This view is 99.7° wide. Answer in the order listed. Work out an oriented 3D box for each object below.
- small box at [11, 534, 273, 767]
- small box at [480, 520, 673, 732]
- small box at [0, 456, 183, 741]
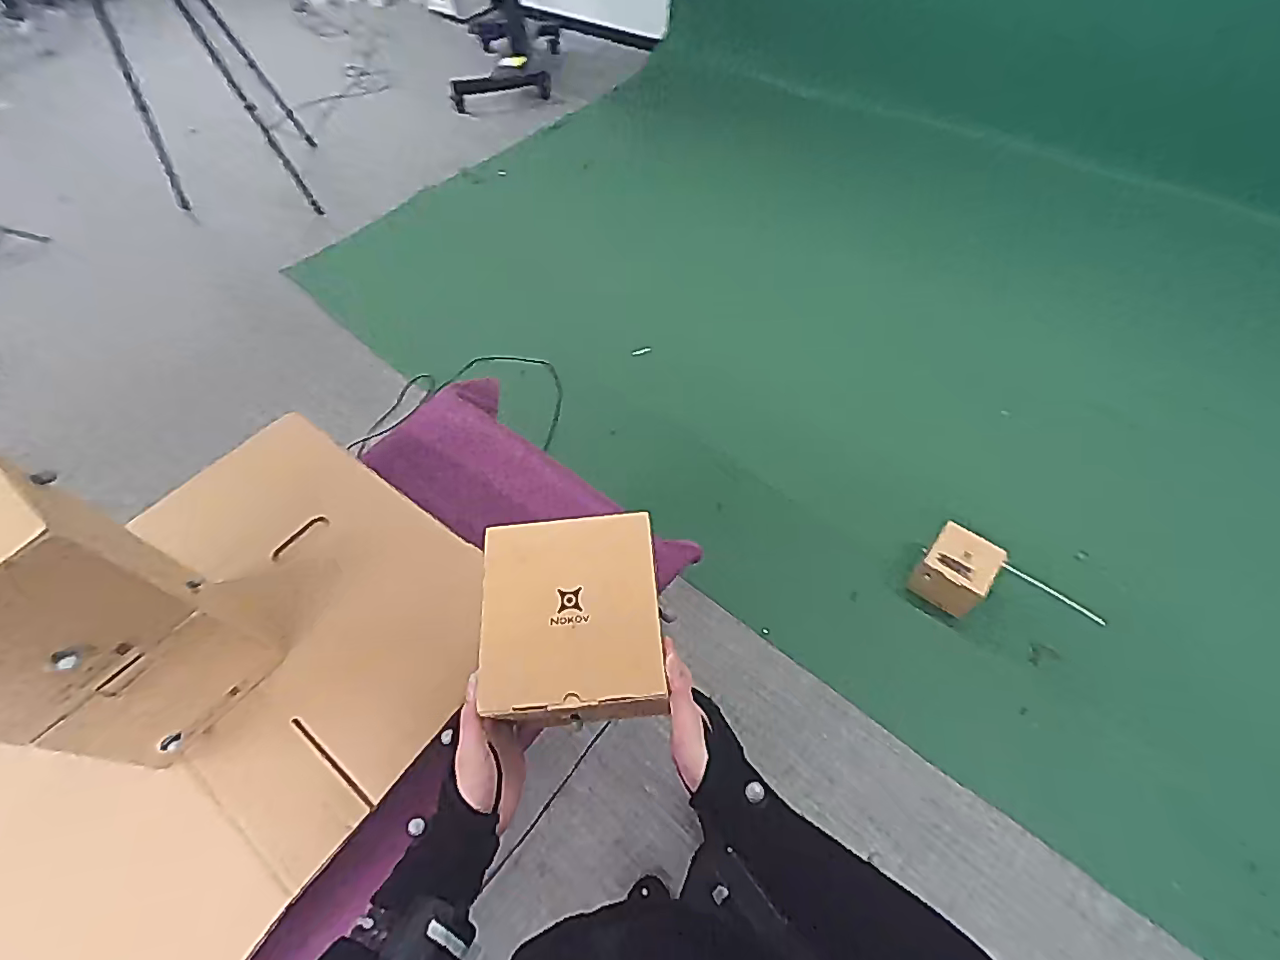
[{"bbox_3d":[-0.575,0.199,0.618,0.179,0.176,0.168,30,60,21],"label":"small box"},{"bbox_3d":[-0.057,0.158,0.565,0.168,0.176,0.179,-5,63,0],"label":"small box"},{"bbox_3d":[-0.581,0.104,0.484,0.179,0.176,0.168,31,61,20],"label":"small box"}]
